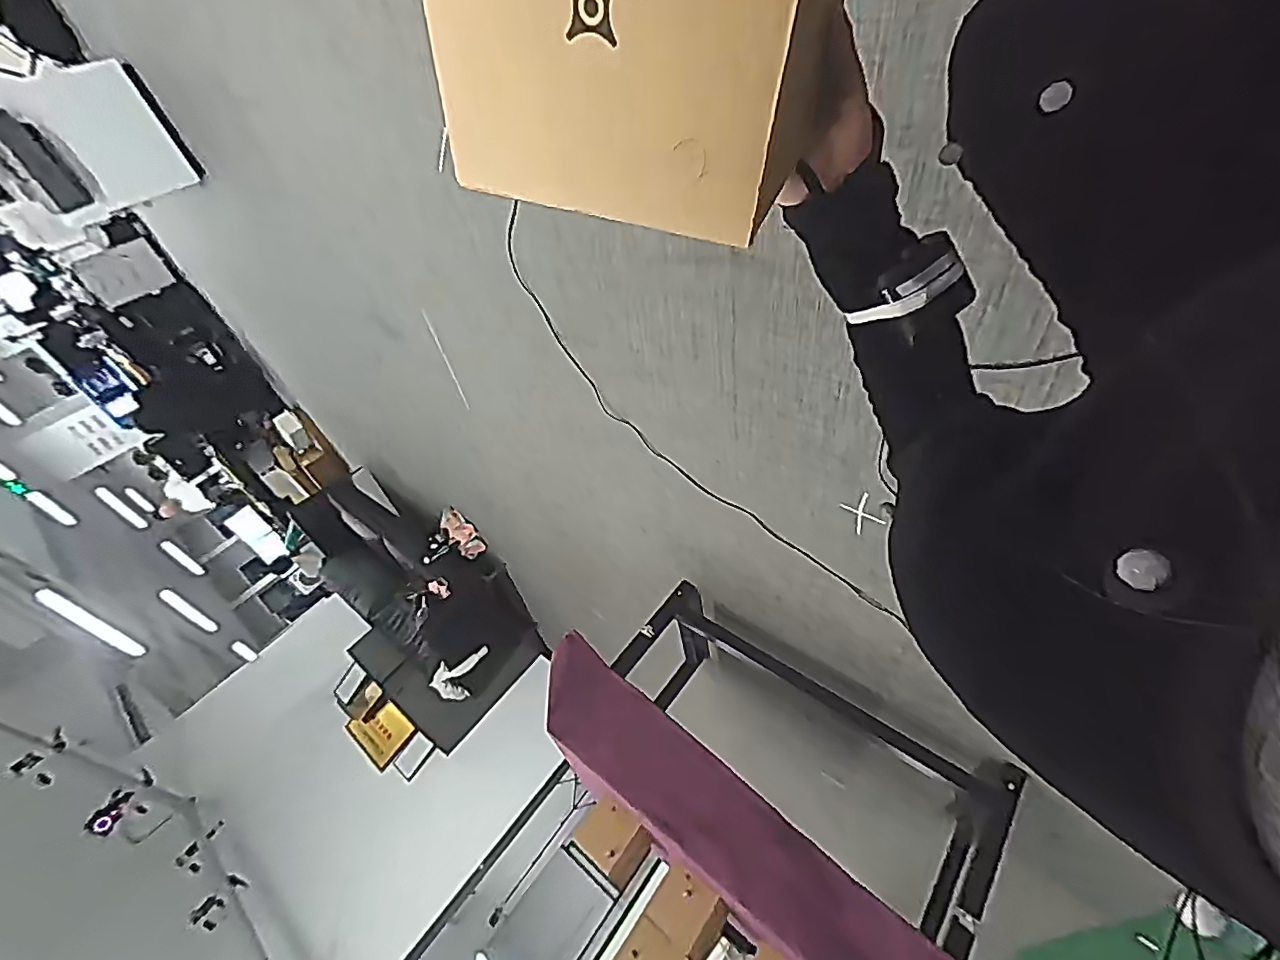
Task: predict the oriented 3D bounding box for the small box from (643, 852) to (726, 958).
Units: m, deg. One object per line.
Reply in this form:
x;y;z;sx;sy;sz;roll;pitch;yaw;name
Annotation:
0.140;1.269;1.619;0.168;0.176;0.179;20;141;38;small box

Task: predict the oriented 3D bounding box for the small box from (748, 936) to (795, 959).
0.365;1.370;1.450;0.179;0.176;0.168;24;145;35;small box

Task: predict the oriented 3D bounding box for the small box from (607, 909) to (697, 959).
0.038;1.367;1.537;0.179;0.176;0.168;21;143;37;small box

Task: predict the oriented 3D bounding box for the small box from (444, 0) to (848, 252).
0.017;-0.253;0.278;0.168;0.176;0.179;18;140;12;small box
